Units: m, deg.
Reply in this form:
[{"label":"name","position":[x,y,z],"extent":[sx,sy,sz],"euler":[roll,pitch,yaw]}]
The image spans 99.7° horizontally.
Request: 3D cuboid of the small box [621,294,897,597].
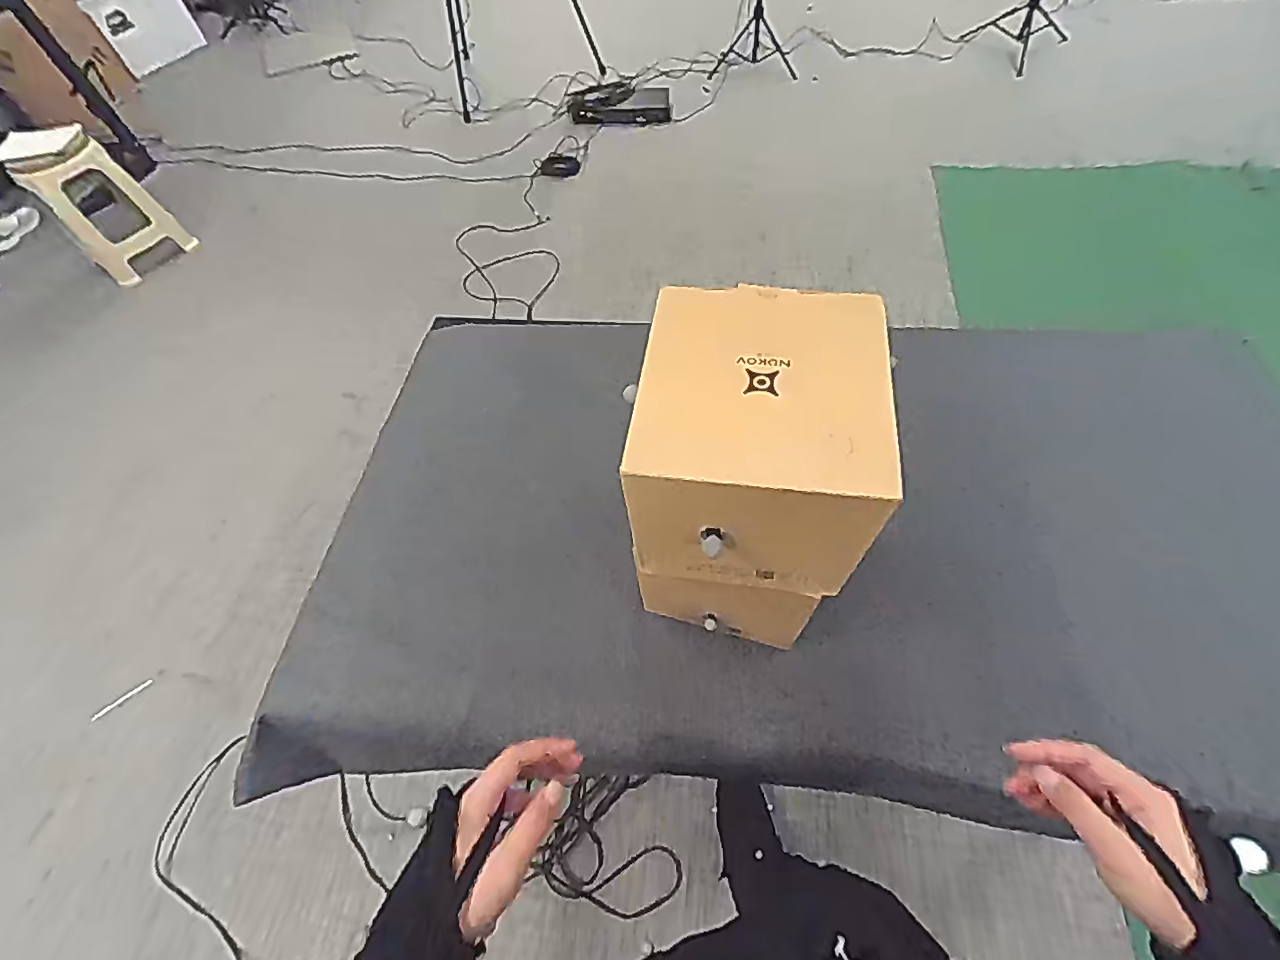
[{"label":"small box","position":[0.088,-0.021,0.429],"extent":[0.168,0.176,0.179],"euler":[5,58,9]}]
